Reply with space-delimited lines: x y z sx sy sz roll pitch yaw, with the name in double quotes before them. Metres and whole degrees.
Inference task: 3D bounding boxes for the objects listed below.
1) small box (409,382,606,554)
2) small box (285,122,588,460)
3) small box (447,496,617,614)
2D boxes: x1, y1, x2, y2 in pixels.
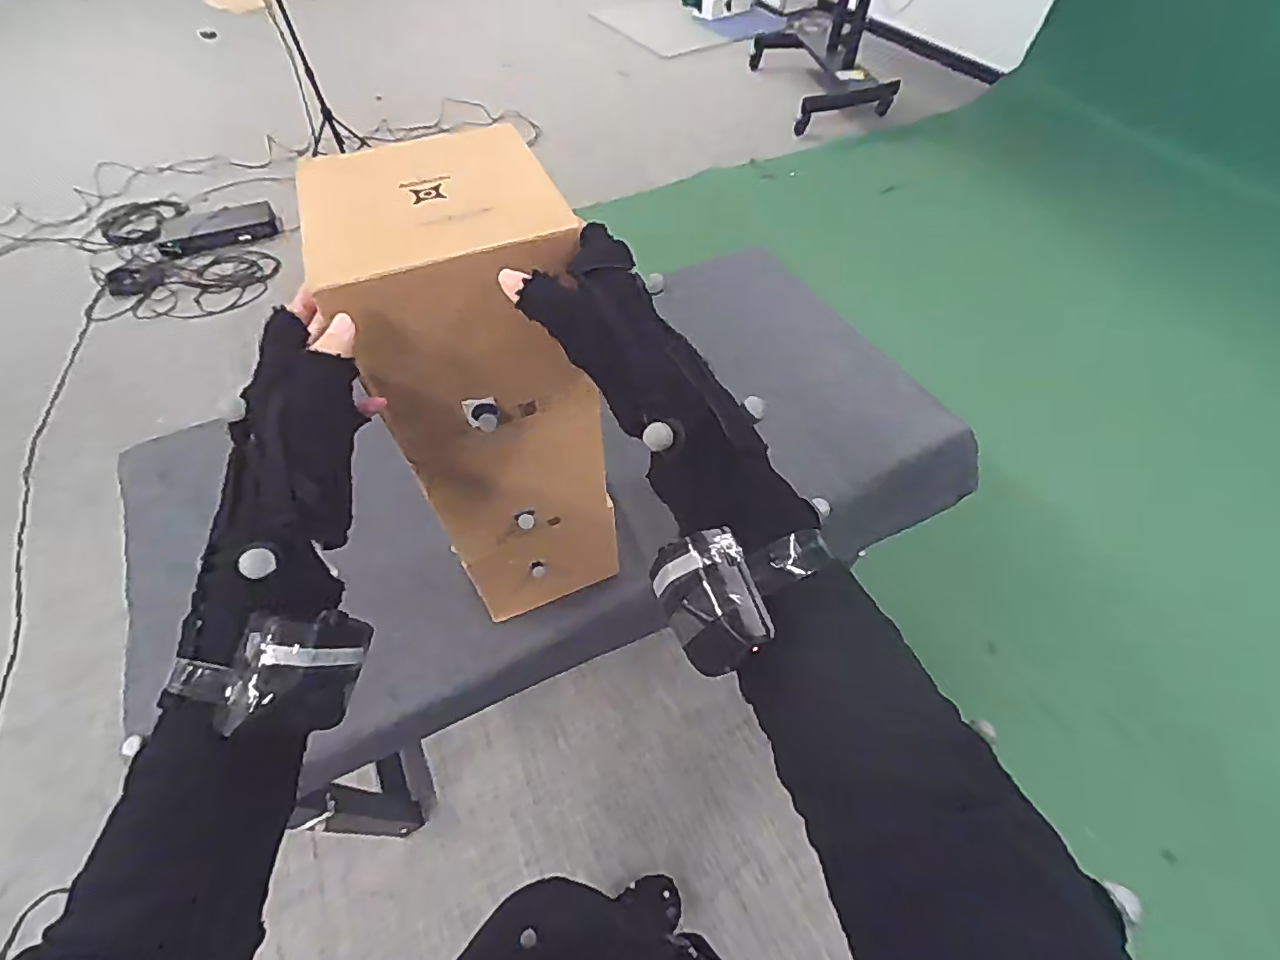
"small box" -0.145 -0.055 0.564 0.168 0.176 0.179 -21 55 -13
"small box" -0.150 -0.147 0.429 0.168 0.176 0.179 -20 56 -11
"small box" -0.141 0.045 0.694 0.179 0.176 0.168 -21 56 -13
